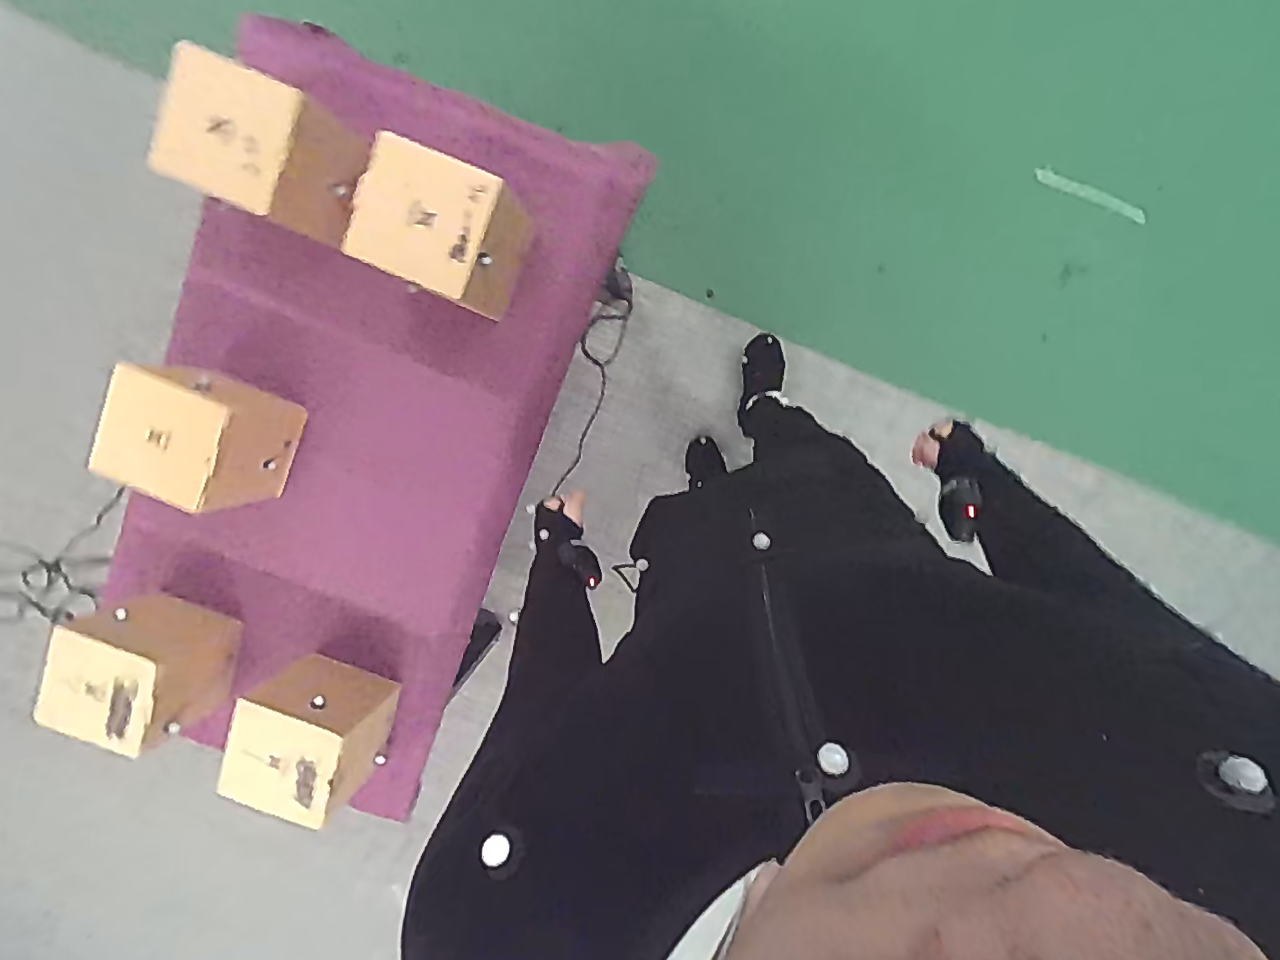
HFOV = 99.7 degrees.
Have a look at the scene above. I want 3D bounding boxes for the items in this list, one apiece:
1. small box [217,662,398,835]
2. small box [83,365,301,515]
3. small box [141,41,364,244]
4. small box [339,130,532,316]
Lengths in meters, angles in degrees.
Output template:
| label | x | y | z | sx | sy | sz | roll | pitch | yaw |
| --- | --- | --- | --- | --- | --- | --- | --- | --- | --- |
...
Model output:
| label | x | y | z | sx | sy | sz | roll | pitch | yaw |
| --- | --- | --- | --- | --- | --- | --- | --- | --- | --- |
| small box | -0.531 | 0.424 | 0.886 | 0.179 | 0.176 | 0.168 | 18 | 97 | 3 |
| small box | -0.680 | -0.063 | 0.840 | 0.179 | 0.176 | 0.168 | 22 | 97 | -1 |
| small box | -0.543 | -0.465 | 0.778 | 0.179 | 0.176 | 0.168 | 23 | 100 | -1 |
| small box | -0.281 | -0.352 | 0.778 | 0.179 | 0.176 | 0.168 | 23 | 99 | 2 |
